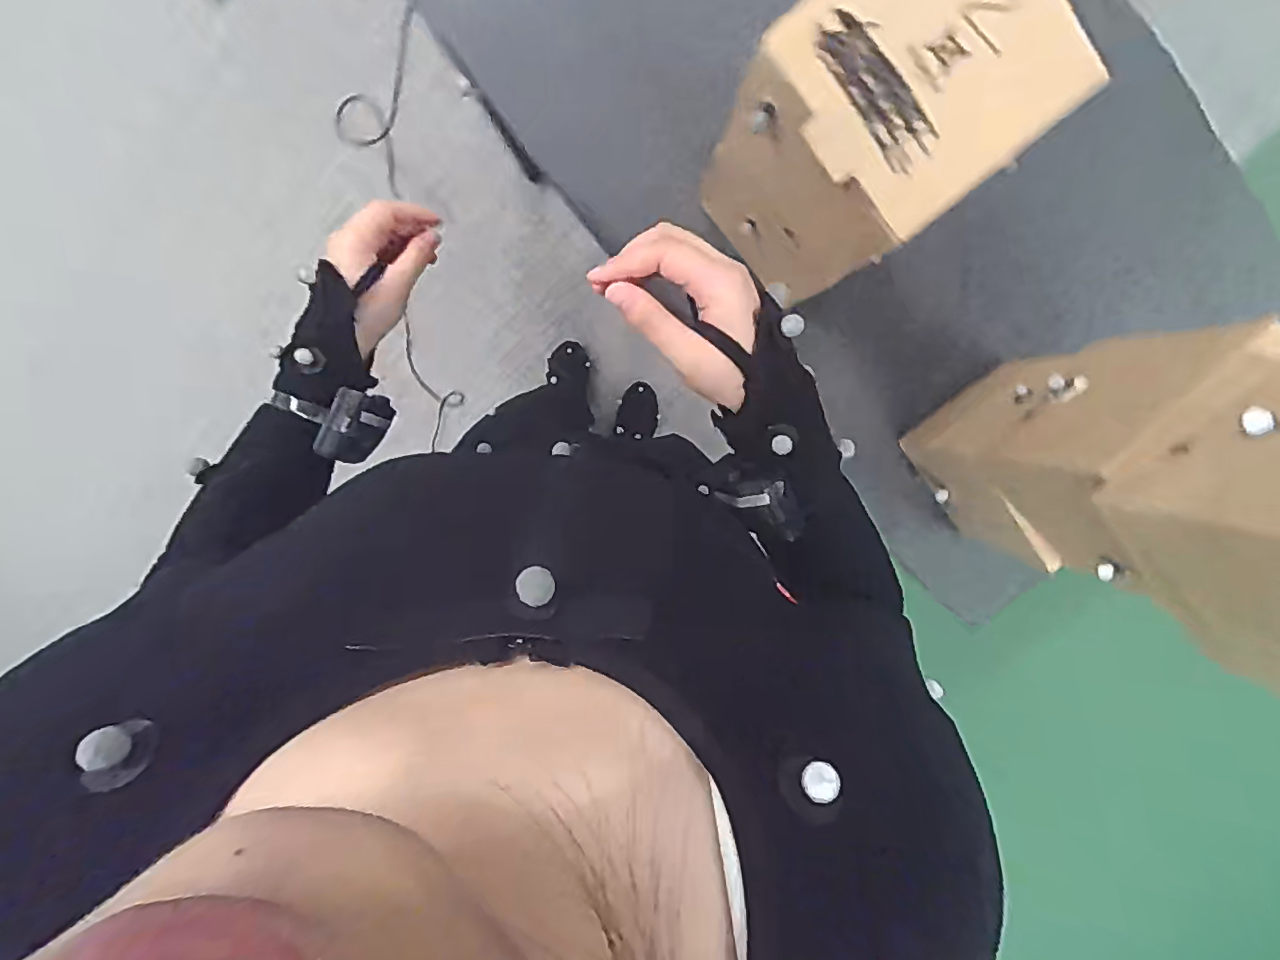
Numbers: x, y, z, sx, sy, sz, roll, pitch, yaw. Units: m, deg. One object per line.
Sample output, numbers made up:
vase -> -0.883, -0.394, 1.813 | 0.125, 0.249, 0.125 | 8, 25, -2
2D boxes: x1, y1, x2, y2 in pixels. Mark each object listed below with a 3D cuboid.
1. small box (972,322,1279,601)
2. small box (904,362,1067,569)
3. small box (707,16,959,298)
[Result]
small box -> 0.454, -0.012, 0.482 | 0.168, 0.176, 0.179 | -44, 95, 5
small box -> 0.460, -0.030, 0.643 | 0.179, 0.176, 0.168 | -36, 97, 6
small box -> 0.191, -0.327, 0.595 | 0.168, 0.176, 0.179 | -40, 97, 7
